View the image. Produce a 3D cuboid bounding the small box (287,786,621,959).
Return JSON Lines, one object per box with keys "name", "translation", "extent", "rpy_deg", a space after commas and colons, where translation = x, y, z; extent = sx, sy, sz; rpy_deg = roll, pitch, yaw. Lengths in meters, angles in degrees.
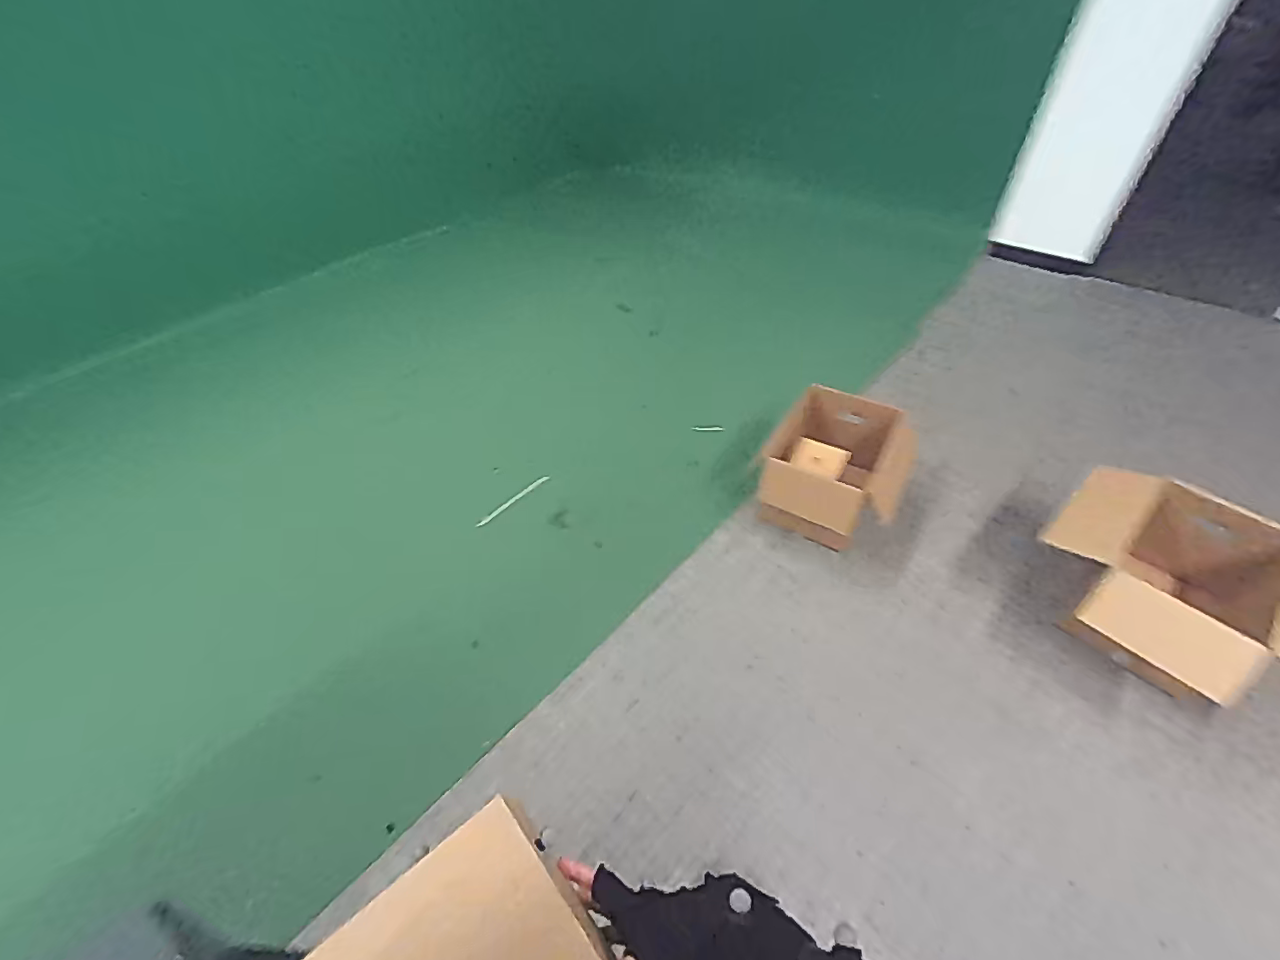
{"name": "small box", "translation": [-0.114, 0.362, 0.396], "extent": [0.168, 0.176, 0.179], "rpy_deg": [-31, 68, -23]}
